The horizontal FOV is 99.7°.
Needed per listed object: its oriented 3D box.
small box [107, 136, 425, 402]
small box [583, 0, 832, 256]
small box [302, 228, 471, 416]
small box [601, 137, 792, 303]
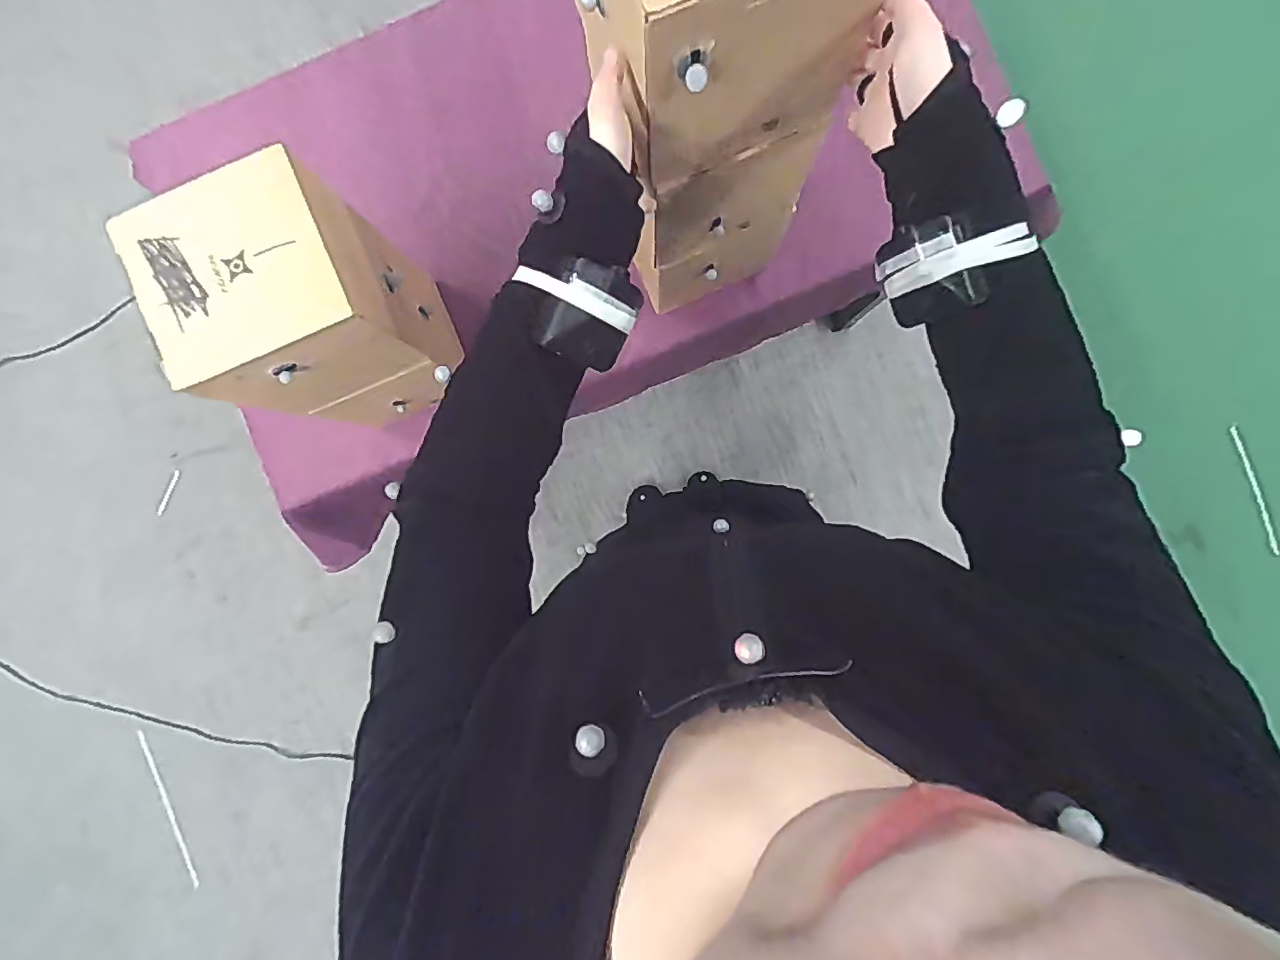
[{"bbox_3d":[-0.355,-0.191,0.548,0.179,0.176,0.168,-23,90,1],"label":"small box"},{"bbox_3d":[0.057,-0.358,0.533,0.168,0.176,0.179,-22,90,2],"label":"small box"},{"bbox_3d":[-0.348,-0.193,0.713,0.168,0.176,0.179,-22,89,2],"label":"small box"},{"bbox_3d":[0.069,-0.354,0.696,0.179,0.176,0.168,-23,90,3],"label":"small box"}]
